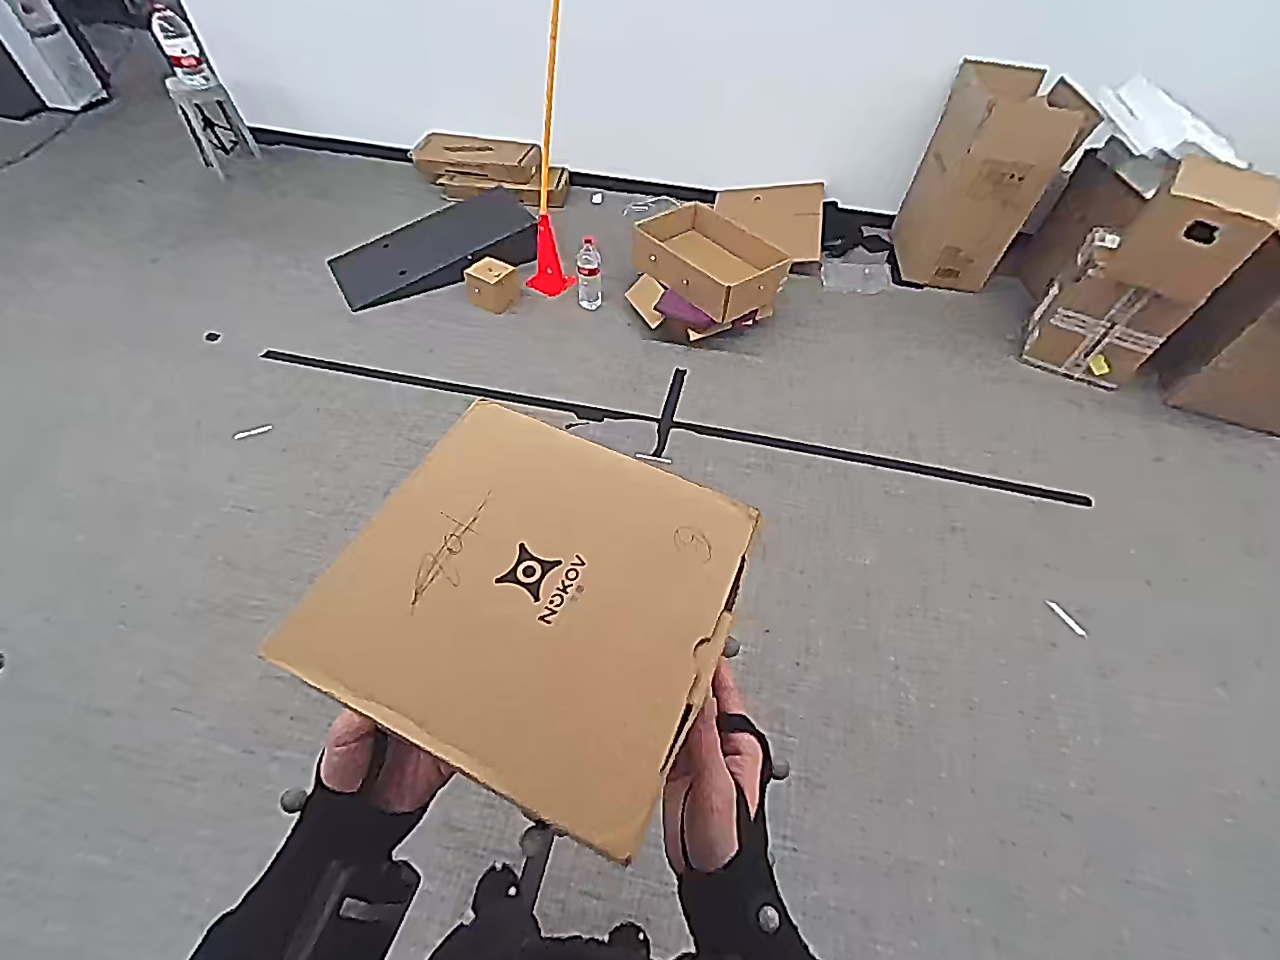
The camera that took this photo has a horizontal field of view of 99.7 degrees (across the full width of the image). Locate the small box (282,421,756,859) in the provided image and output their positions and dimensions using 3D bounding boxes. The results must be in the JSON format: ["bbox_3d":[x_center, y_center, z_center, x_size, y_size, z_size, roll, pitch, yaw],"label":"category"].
[{"bbox_3d":[-0.051,0.099,0.328,0.179,0.176,0.168,20,55,11],"label":"small box"}]
